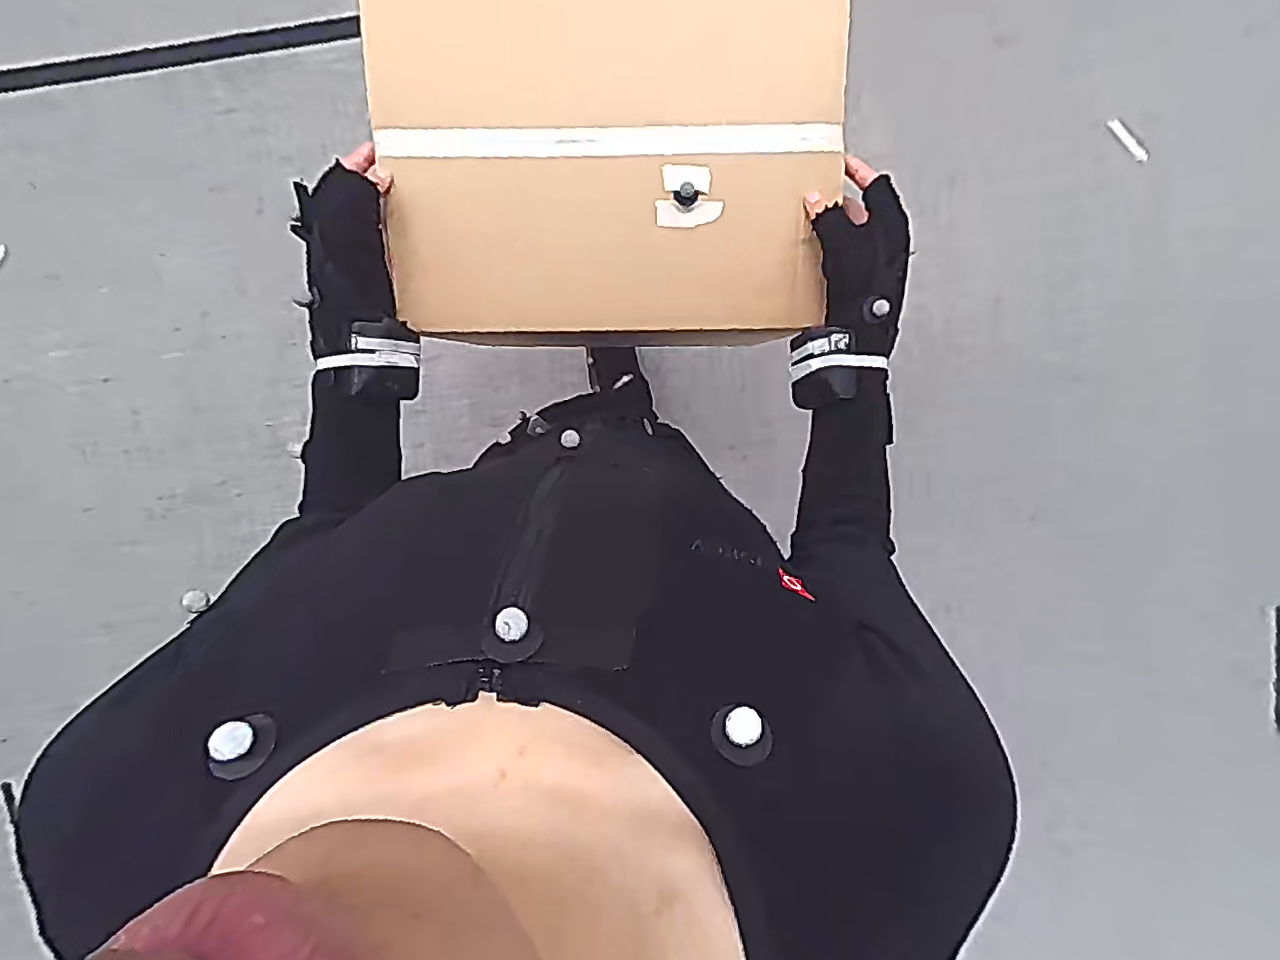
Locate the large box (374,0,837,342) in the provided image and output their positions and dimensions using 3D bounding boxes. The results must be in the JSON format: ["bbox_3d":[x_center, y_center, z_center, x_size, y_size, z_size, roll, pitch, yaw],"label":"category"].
[{"bbox_3d":[-0.030,-0.334,0.626,0.408,0.320,0.320,-1,101,-1],"label":"large box"}]
